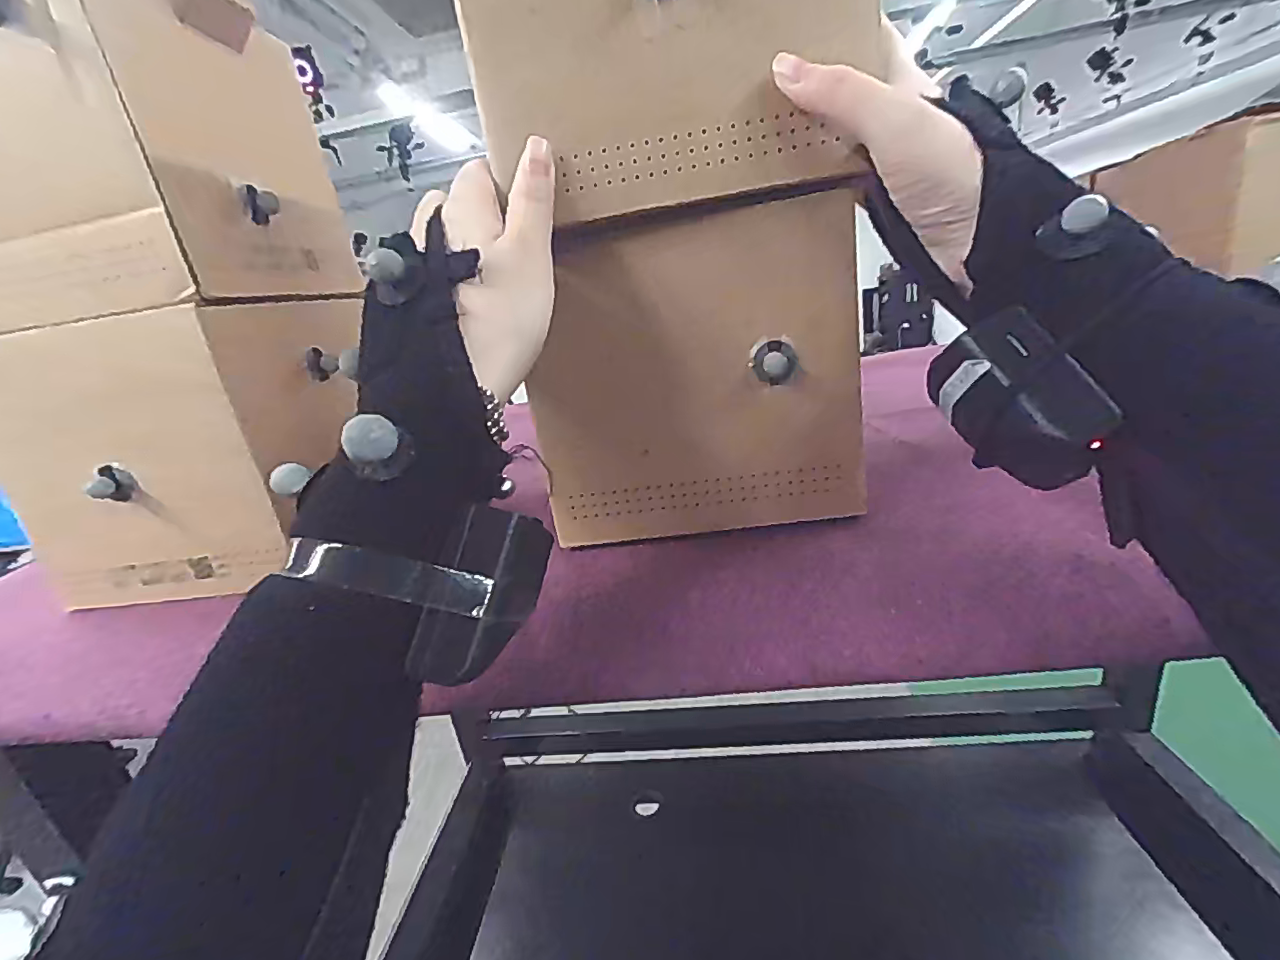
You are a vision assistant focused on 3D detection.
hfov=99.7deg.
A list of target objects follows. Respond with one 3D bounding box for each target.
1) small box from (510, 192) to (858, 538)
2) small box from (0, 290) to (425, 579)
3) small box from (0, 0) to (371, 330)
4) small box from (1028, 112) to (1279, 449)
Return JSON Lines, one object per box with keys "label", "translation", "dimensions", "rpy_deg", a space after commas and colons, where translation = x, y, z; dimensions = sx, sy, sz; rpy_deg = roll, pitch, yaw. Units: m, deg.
{"label": "small box", "translation": [0.036, -0.073, 0.366], "dimensions": [0.179, 0.176, 0.168], "rpy_deg": [-7, 15, 7]}
{"label": "small box", "translation": [-0.282, -0.038, 0.395], "dimensions": [0.168, 0.176, 0.179], "rpy_deg": [-5, 19, 6]}
{"label": "small box", "translation": [-0.310, -0.189, 0.342], "dimensions": [0.179, 0.176, 0.168], "rpy_deg": [-6, 19, 4]}
{"label": "small box", "translation": [0.381, -0.120, 0.339], "dimensions": [0.179, 0.176, 0.168], "rpy_deg": [-6, 16, 9]}
